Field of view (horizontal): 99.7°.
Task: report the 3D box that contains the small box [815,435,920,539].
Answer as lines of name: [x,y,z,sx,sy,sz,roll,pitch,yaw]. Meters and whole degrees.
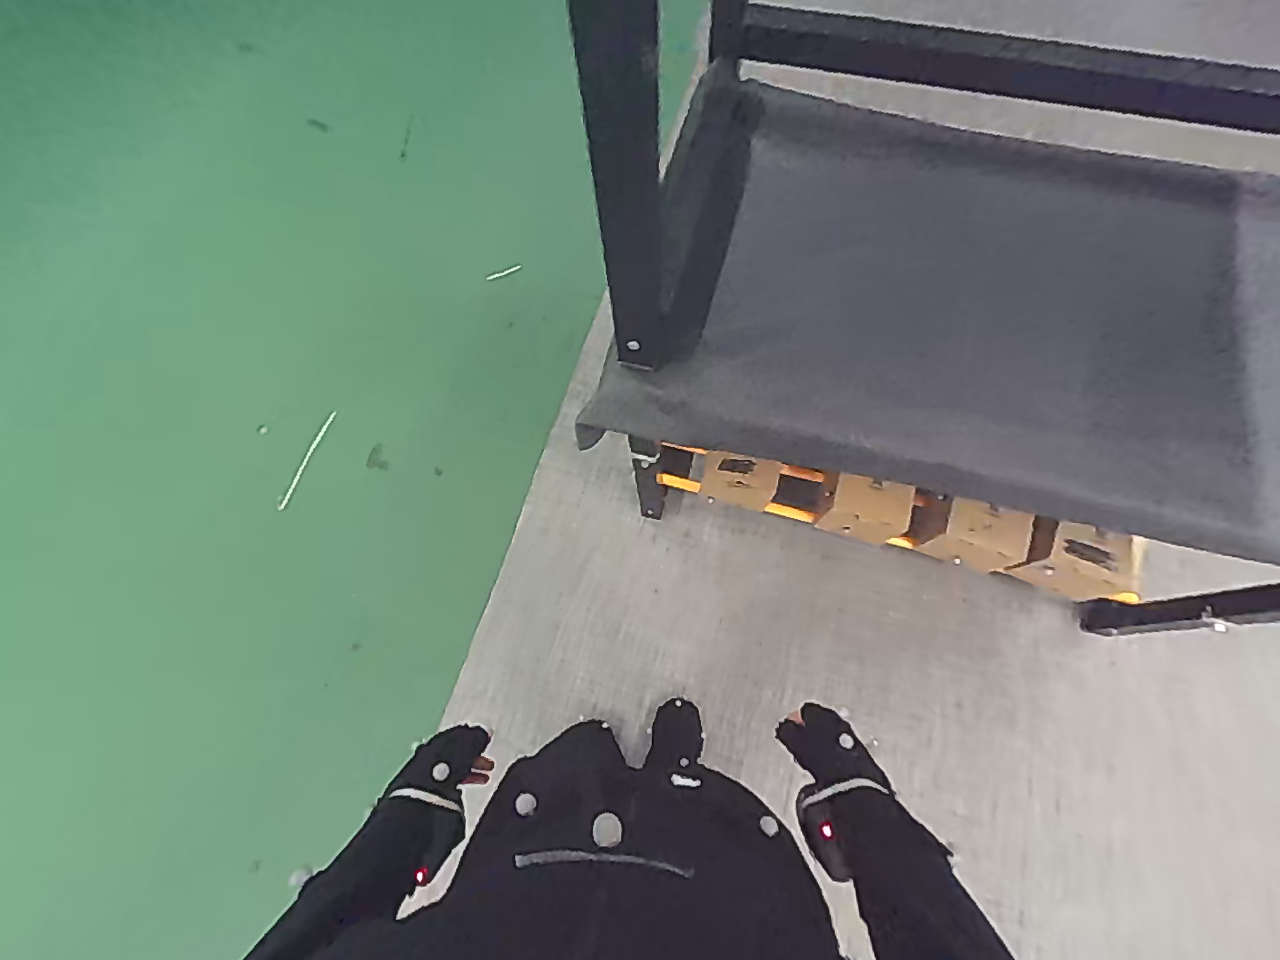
small box: [0.521,0.022,1.257,0.168,0.176,0.179,16,74,8]
